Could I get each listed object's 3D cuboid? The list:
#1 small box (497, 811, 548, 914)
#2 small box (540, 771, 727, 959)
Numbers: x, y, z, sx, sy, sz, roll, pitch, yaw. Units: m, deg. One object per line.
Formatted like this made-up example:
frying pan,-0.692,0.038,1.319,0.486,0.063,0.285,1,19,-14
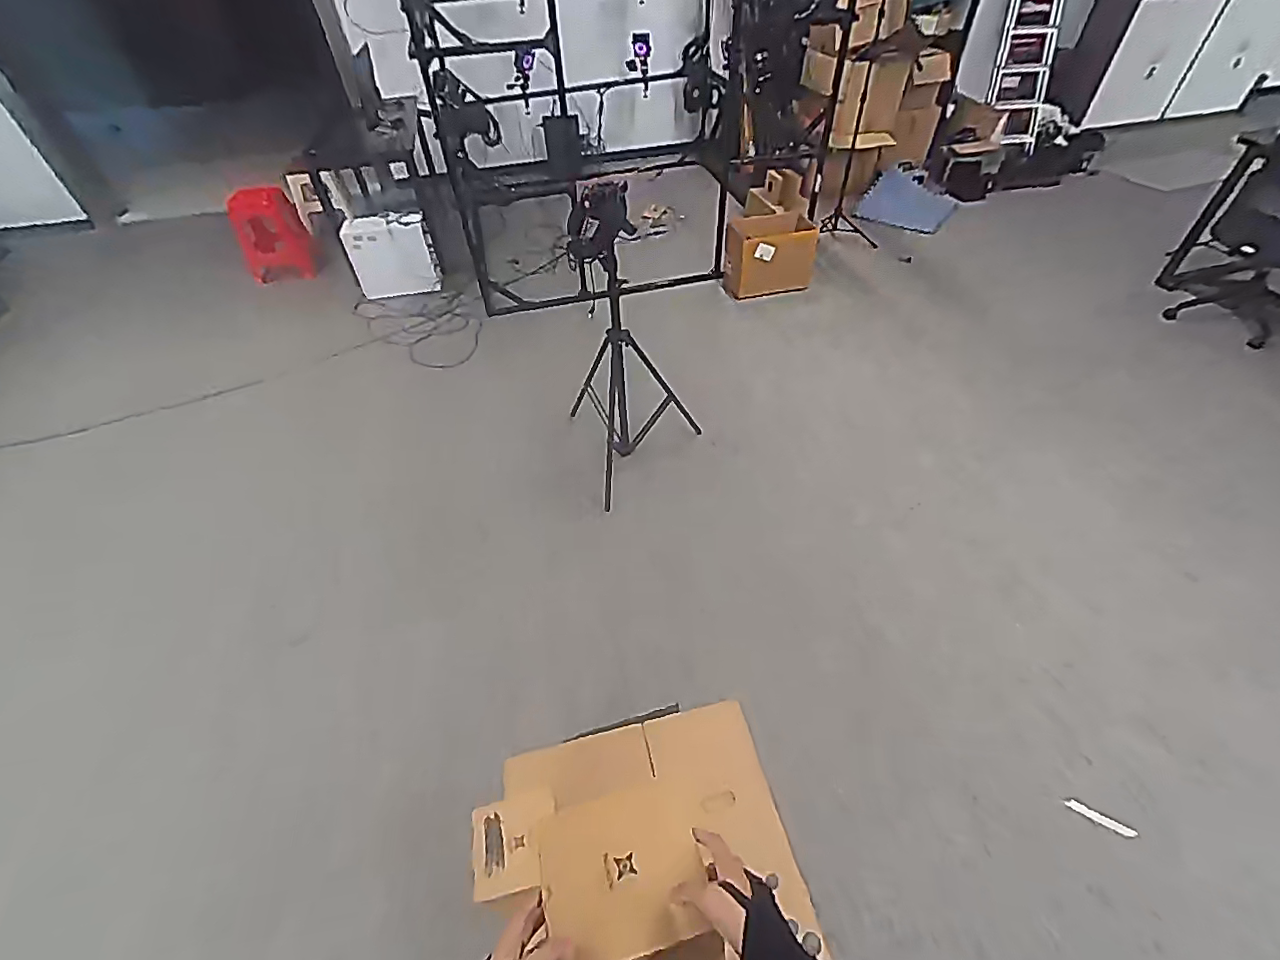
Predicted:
small box,-0.231,0.904,1.284,0.179,0.176,0.168,-12,48,-7
small box,-0.007,0.486,0.632,0.179,0.176,0.168,-14,32,-9
